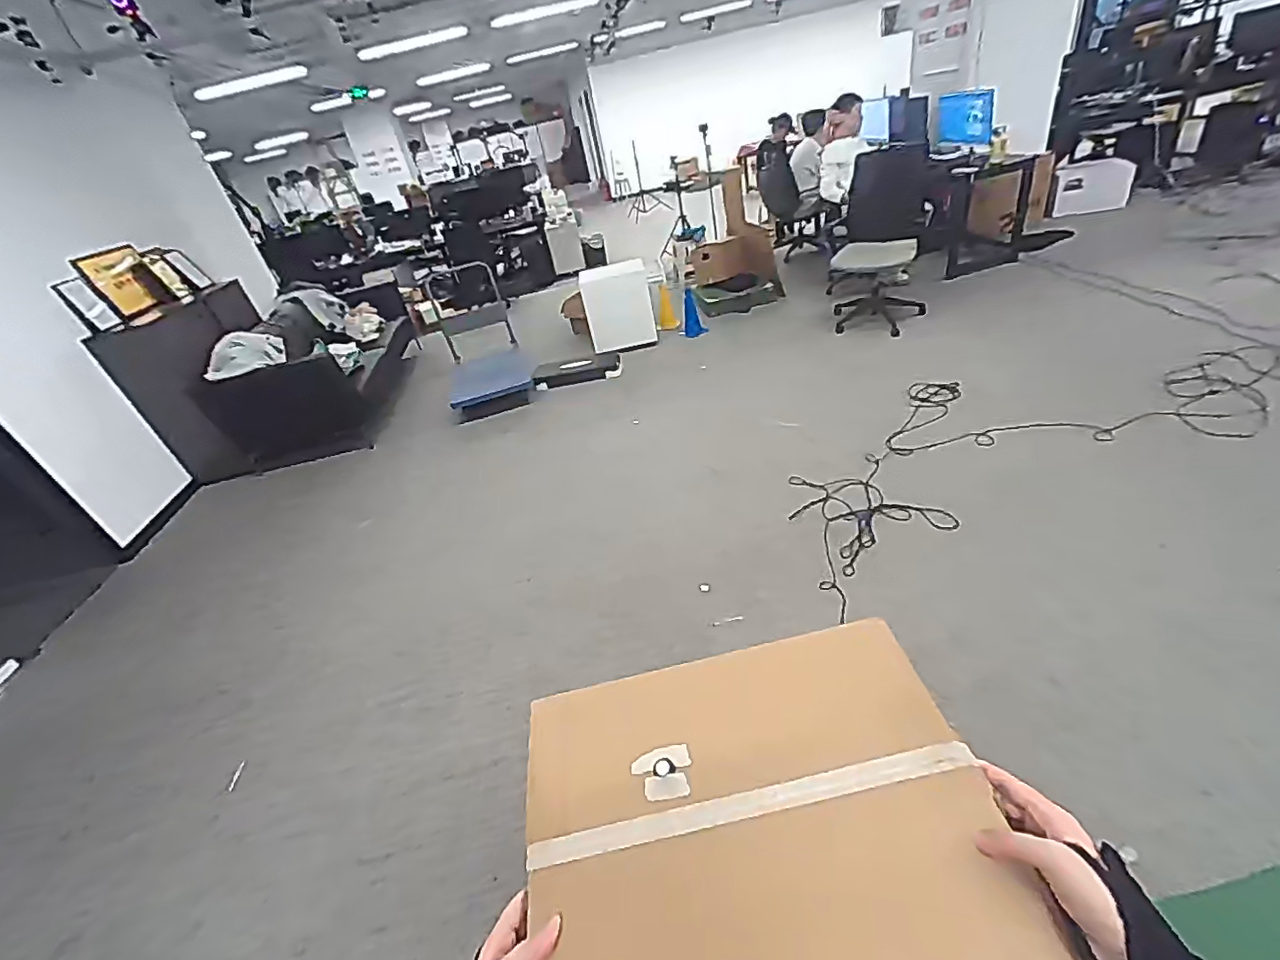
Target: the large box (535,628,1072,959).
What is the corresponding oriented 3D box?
[{"bbox_3d":[0.132,0.419,0.585,0.408,0.320,0.320,-16,38,3],"label":"large box"}]
